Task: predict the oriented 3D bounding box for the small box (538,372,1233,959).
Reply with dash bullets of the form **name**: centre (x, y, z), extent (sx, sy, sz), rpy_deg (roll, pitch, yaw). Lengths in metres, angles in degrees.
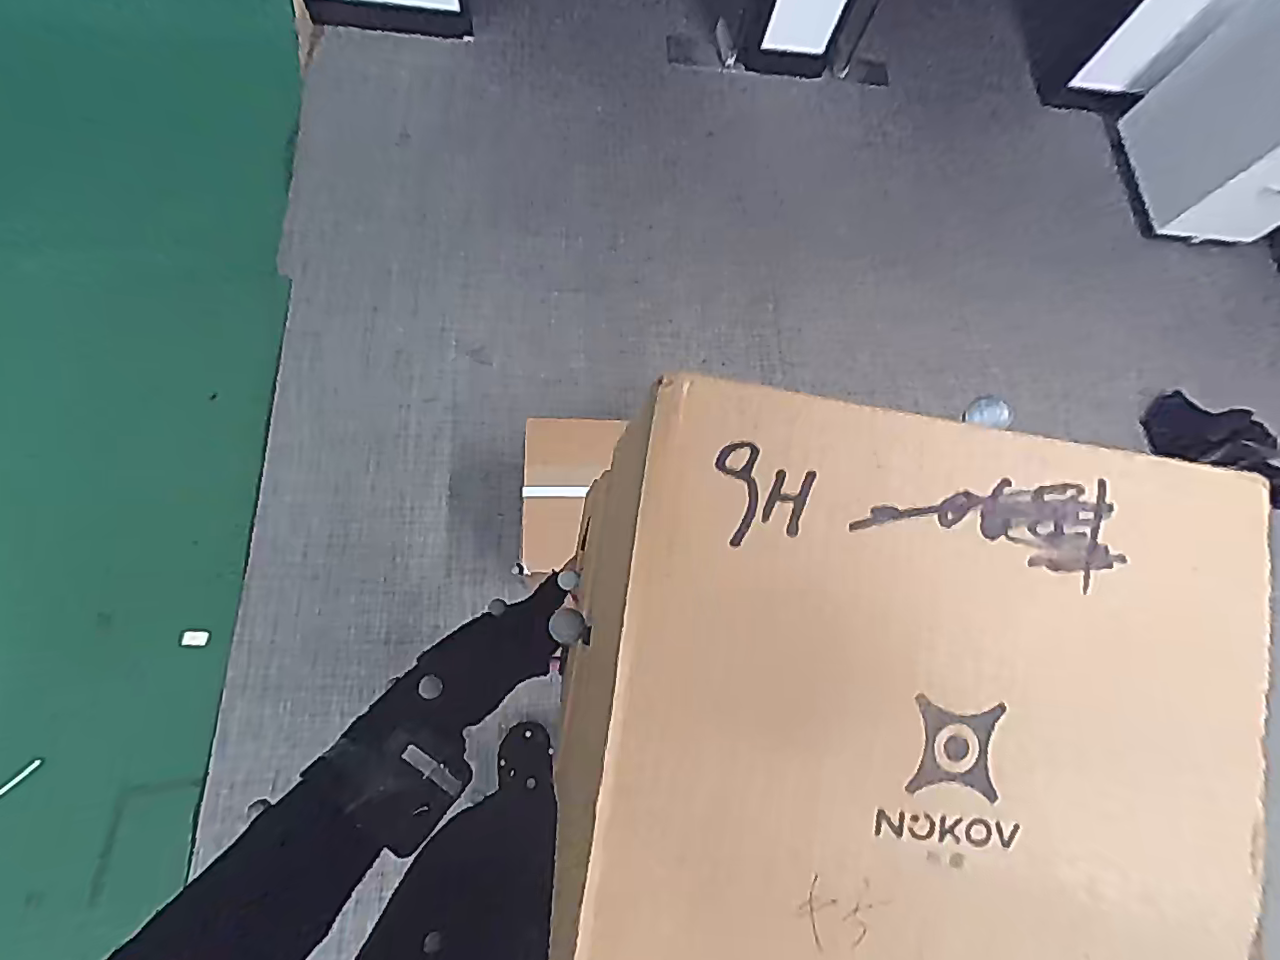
- **small box**: centre (0.059, 0.073, 0.215), extent (0.168, 0.176, 0.179), rpy_deg (8, 86, -5)
